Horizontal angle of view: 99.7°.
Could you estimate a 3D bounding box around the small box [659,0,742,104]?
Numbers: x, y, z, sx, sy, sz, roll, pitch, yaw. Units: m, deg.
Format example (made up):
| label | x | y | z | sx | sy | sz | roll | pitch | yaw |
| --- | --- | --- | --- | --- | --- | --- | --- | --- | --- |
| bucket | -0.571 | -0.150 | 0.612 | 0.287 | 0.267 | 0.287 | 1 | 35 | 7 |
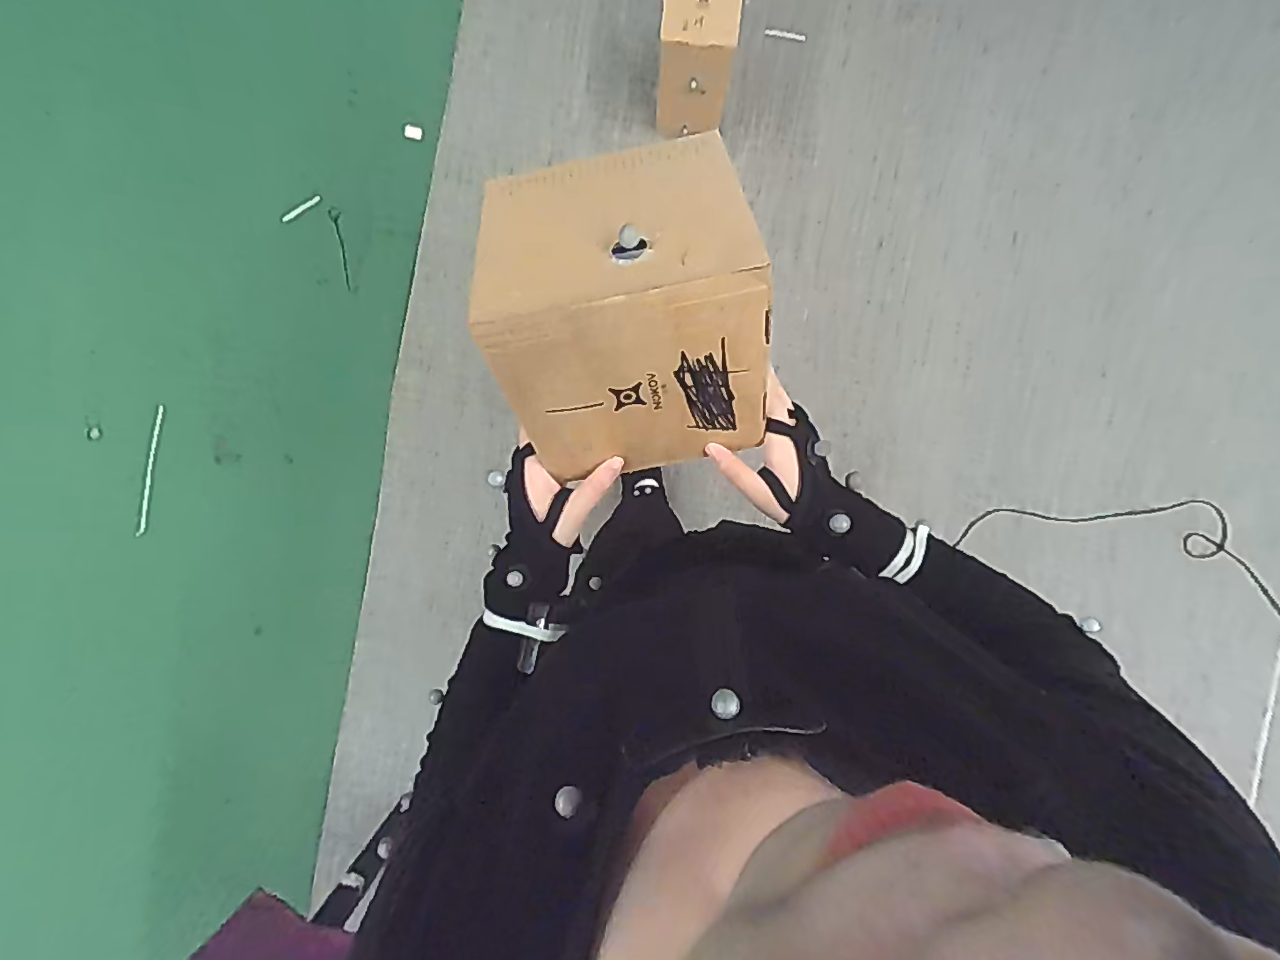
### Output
| label | x | y | z | sx | sy | sz | roll | pitch | yaw |
| --- | --- | --- | --- | --- | --- | --- | --- | --- | --- |
| small box | 0.134 | -1.000 | 1.222 | 0.168 | 0.176 | 0.179 | 6 | 92 | 2 |
